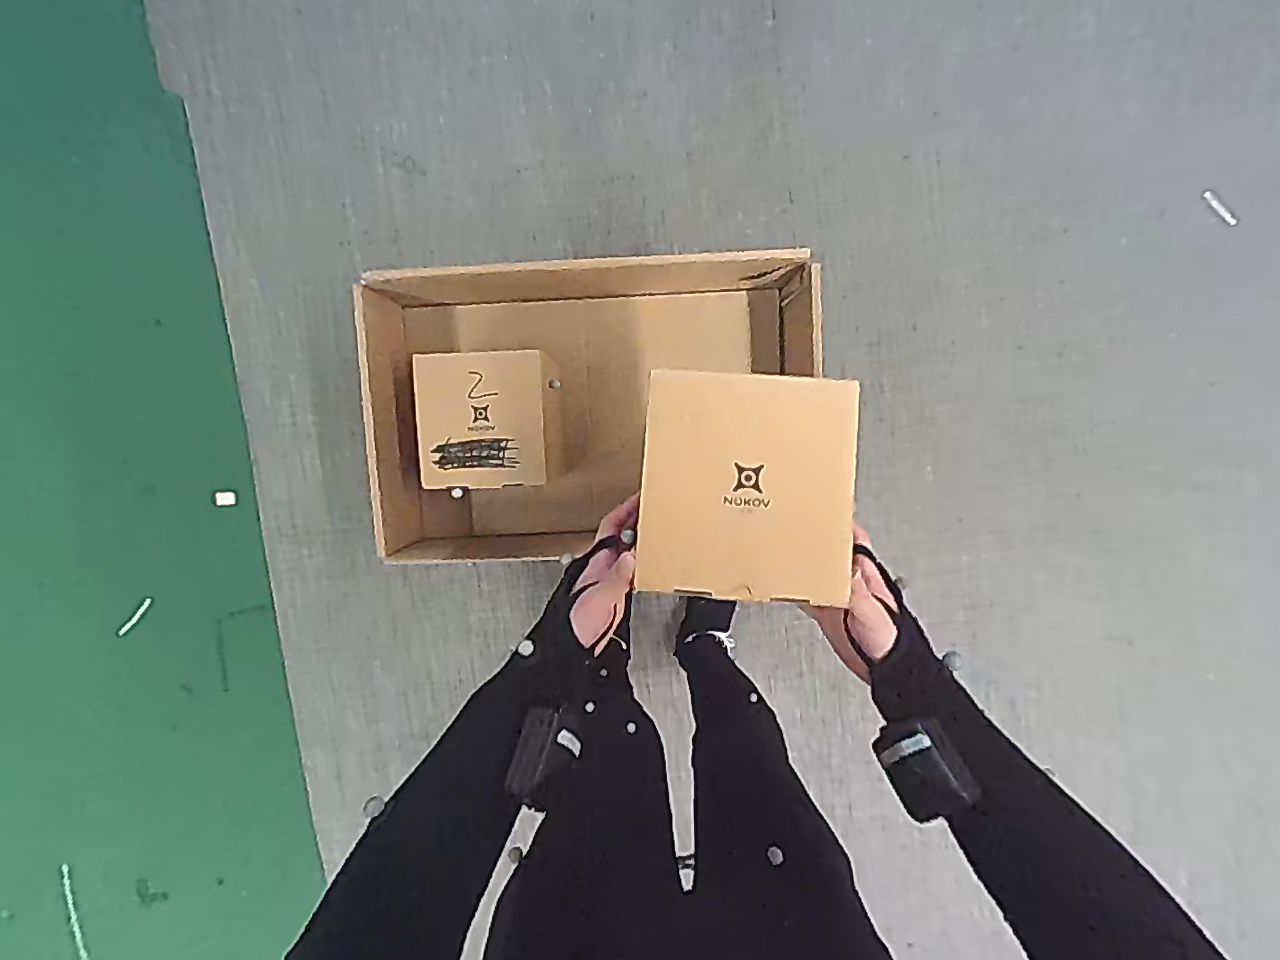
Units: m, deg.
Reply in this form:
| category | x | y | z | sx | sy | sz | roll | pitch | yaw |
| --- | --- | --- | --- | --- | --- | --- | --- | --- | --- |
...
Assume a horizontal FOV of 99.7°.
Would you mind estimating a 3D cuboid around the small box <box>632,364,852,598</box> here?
| category | x | y | z | sx | sy | sz | roll | pitch | yaw |
| --- | --- | --- | --- | --- | --- | --- | --- | --- | --- |
| small box | 0.082 | 0.005 | 0.498 | 0.168 | 0.176 | 0.179 | 3 | 86 | 3 |
